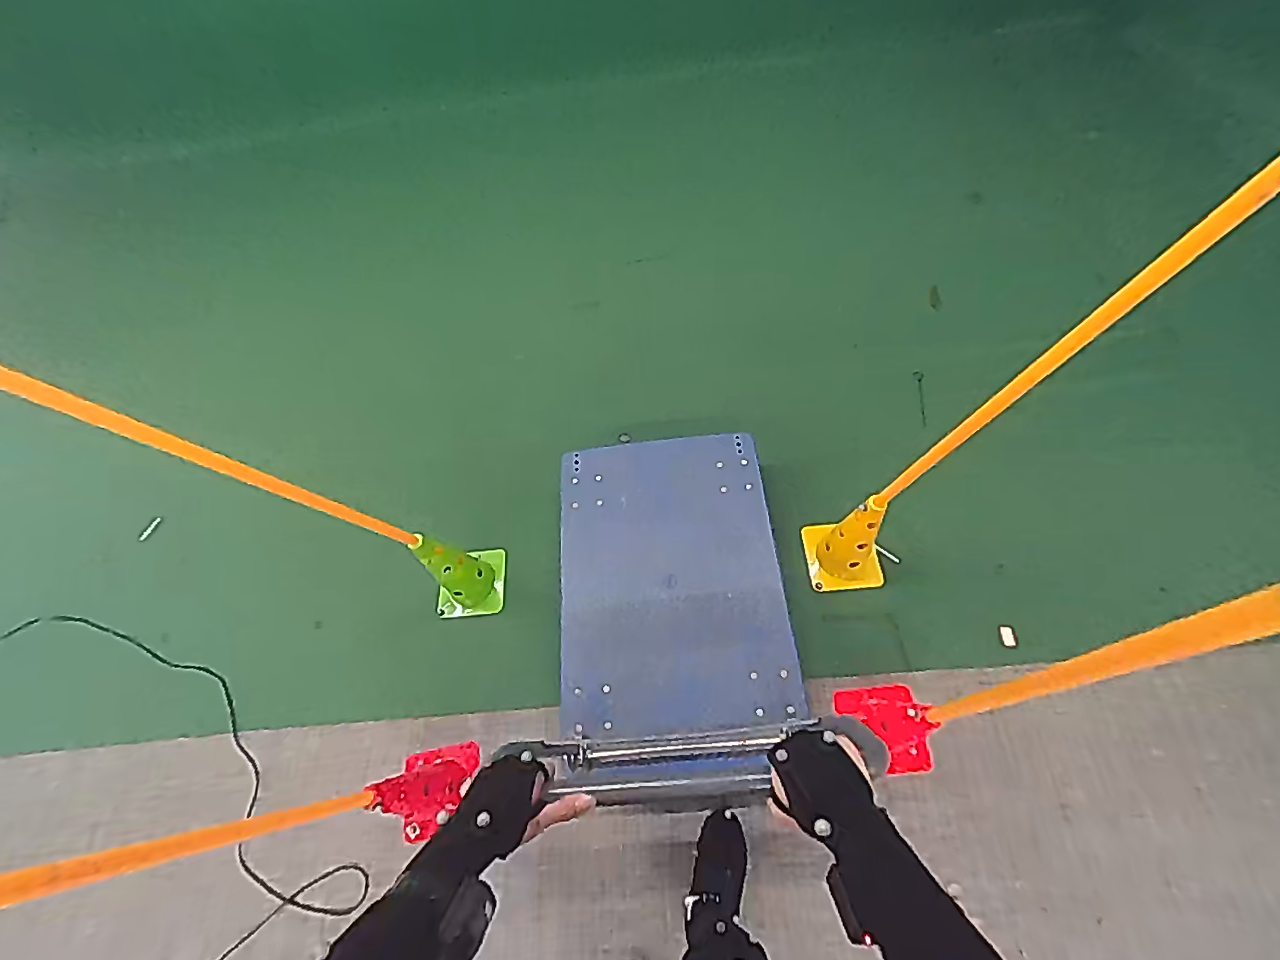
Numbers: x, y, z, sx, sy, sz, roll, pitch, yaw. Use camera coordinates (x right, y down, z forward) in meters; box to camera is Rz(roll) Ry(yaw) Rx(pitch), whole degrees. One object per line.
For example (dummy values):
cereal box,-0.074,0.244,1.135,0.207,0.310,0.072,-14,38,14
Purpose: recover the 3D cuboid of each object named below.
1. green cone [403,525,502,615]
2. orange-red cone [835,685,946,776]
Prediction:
green cone,-0.534,0.217,1.469,0.200,0.368,0.202,-7,60,4
orange-red cone,0.577,0.527,1.177,0.198,0.360,0.199,-6,60,3
